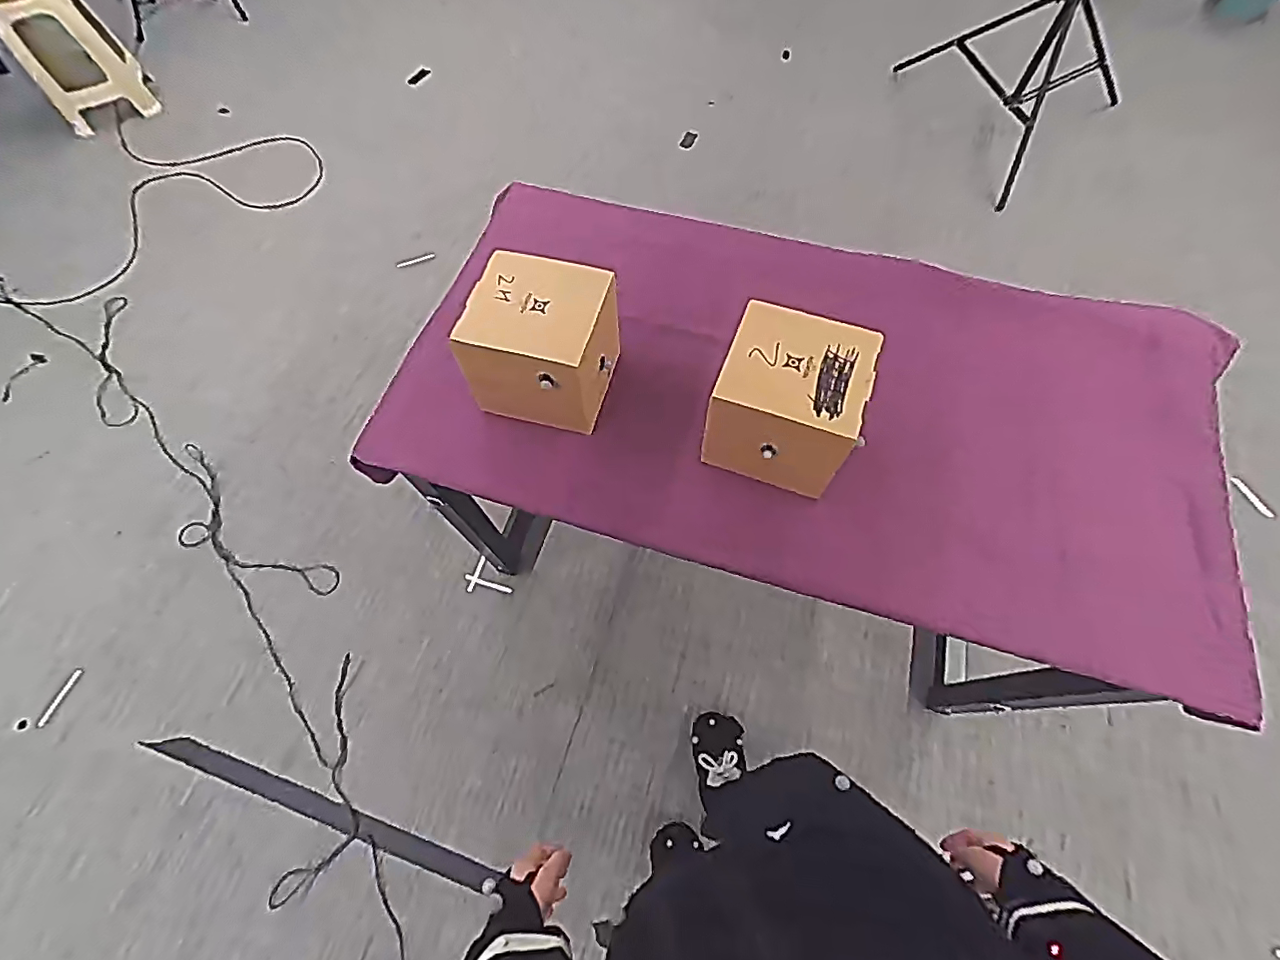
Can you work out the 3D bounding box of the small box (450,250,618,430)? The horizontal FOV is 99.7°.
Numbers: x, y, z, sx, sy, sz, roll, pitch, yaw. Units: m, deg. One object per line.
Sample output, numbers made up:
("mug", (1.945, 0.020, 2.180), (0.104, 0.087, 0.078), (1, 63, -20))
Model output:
("small box", (-0.135, -0.192, 0.775), (0.179, 0.176, 0.168), (13, 65, 7))
